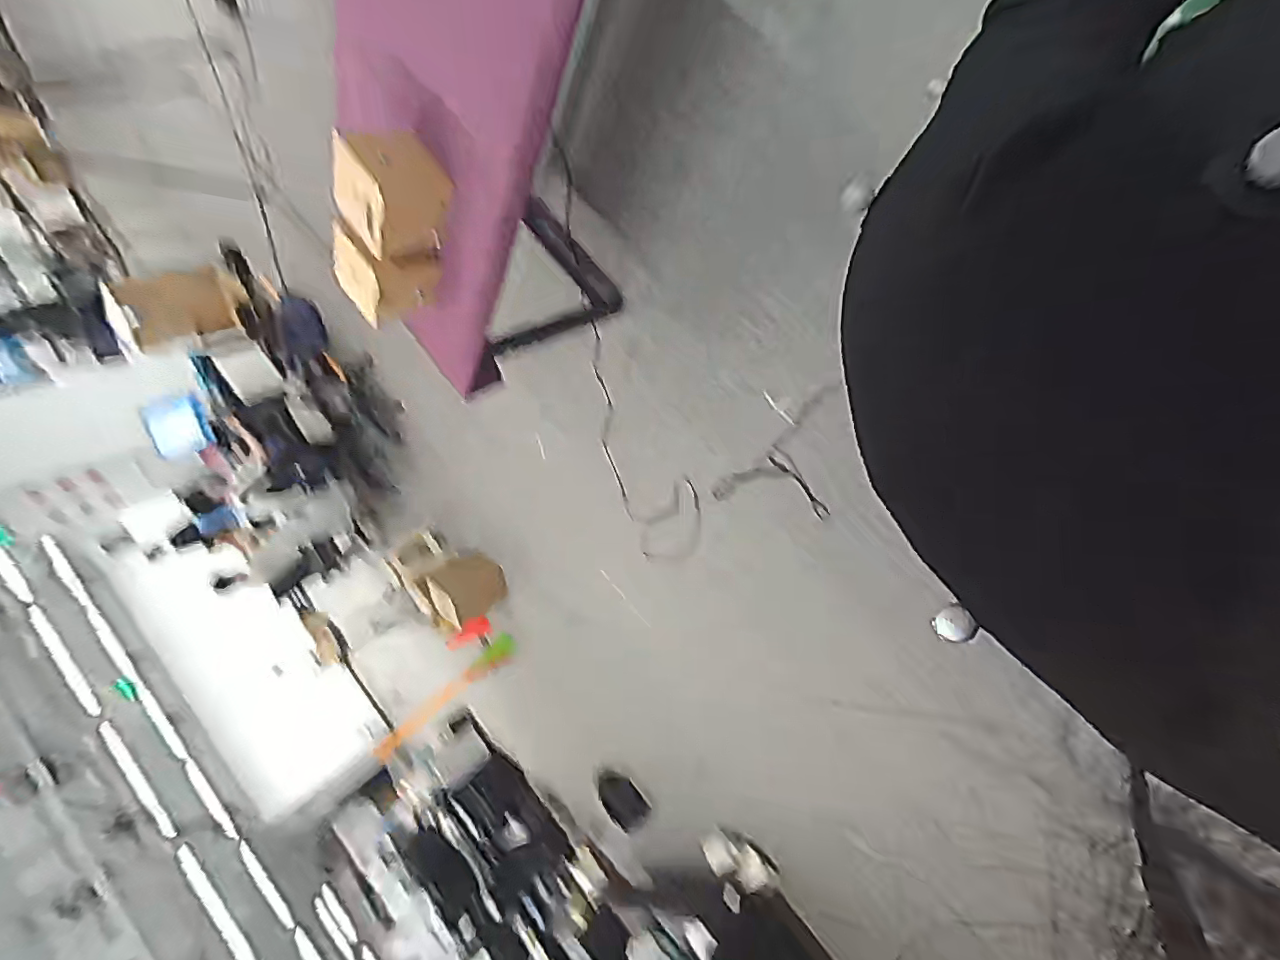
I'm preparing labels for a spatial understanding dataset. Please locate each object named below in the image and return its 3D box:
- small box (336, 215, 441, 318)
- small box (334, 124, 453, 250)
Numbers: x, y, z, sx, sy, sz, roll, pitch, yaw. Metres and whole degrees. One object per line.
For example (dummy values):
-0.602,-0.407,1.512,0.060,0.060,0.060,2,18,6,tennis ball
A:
-0.631,-0.541,1.354,0.179,0.176,0.168,51,141,7,small box
-0.535,-0.648,1.189,0.179,0.176,0.168,48,144,6,small box
